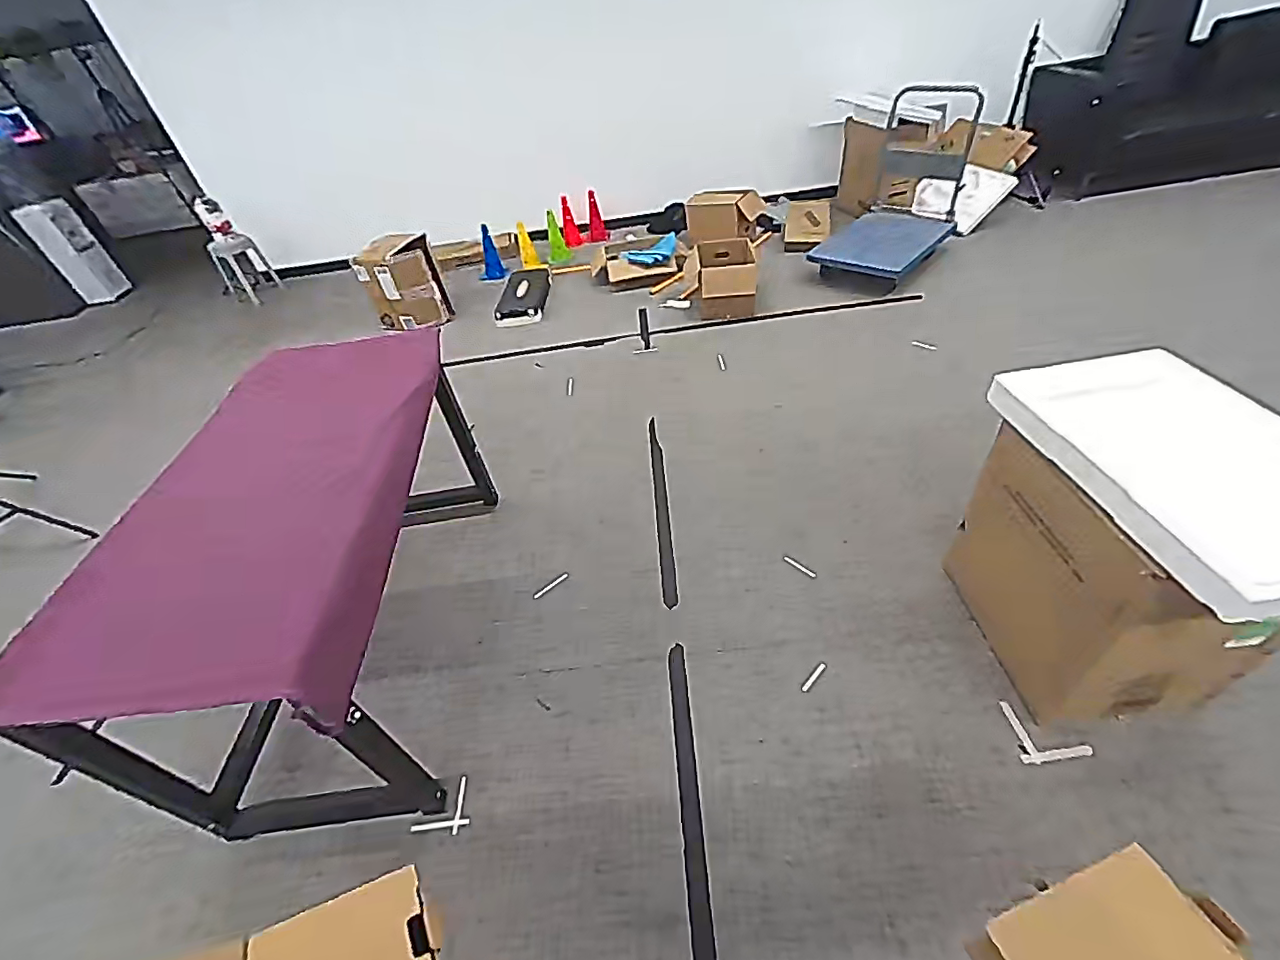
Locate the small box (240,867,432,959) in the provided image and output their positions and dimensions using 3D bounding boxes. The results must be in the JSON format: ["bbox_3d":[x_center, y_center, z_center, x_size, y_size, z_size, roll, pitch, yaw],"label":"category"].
[{"bbox_3d":[-0.326,0.591,0.595,0.179,0.176,0.168,-4,29,-32],"label":"small box"}]
